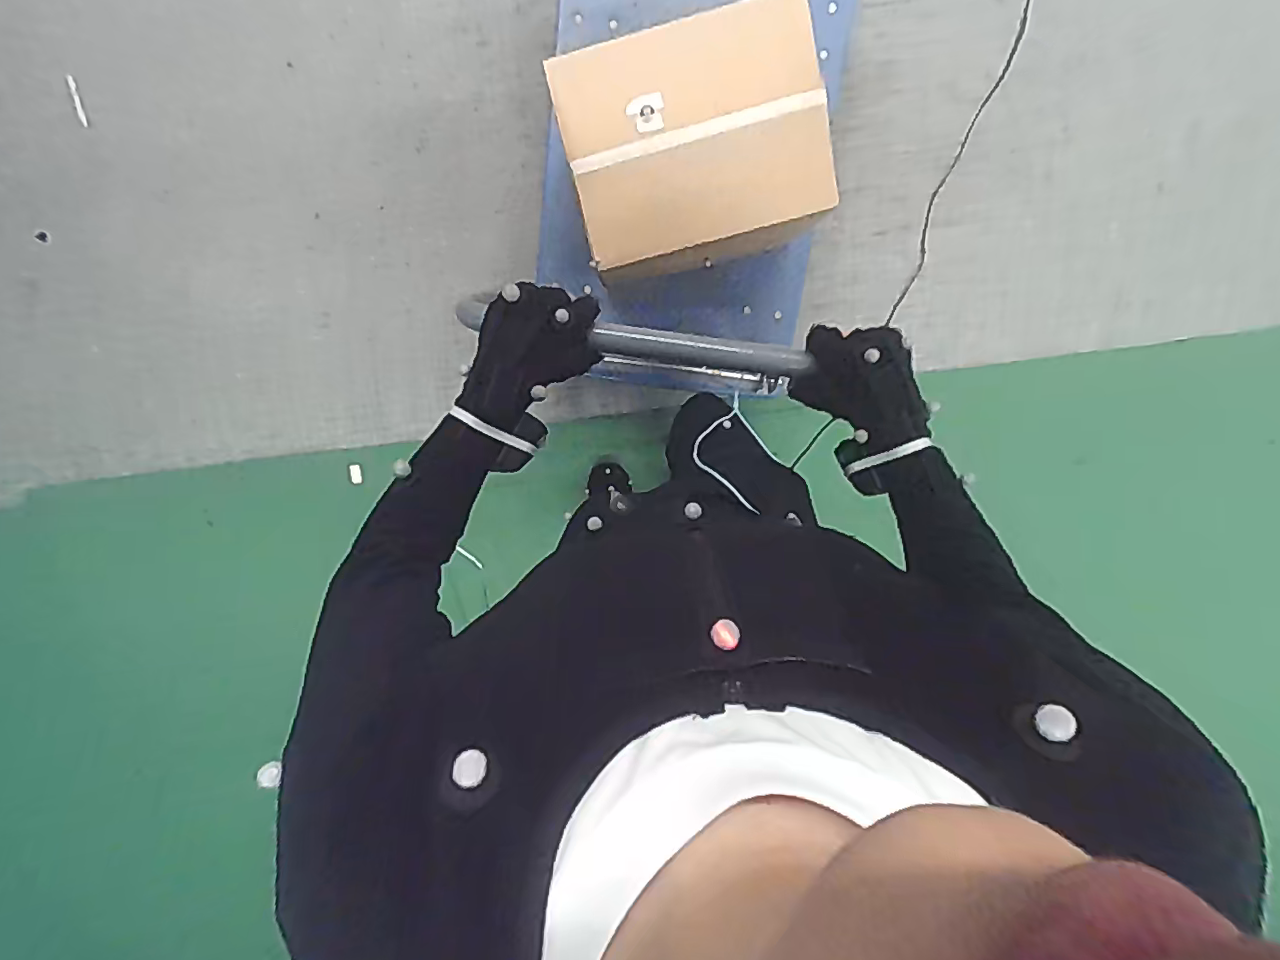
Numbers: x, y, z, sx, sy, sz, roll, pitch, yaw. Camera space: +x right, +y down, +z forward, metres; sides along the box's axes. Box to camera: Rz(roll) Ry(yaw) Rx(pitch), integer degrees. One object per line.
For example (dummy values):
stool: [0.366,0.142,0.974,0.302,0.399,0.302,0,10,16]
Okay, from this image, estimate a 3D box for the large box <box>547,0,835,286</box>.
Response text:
large box: [0.088,-0.577,0.992,0.408,0.320,0.320,-14,102,5]
